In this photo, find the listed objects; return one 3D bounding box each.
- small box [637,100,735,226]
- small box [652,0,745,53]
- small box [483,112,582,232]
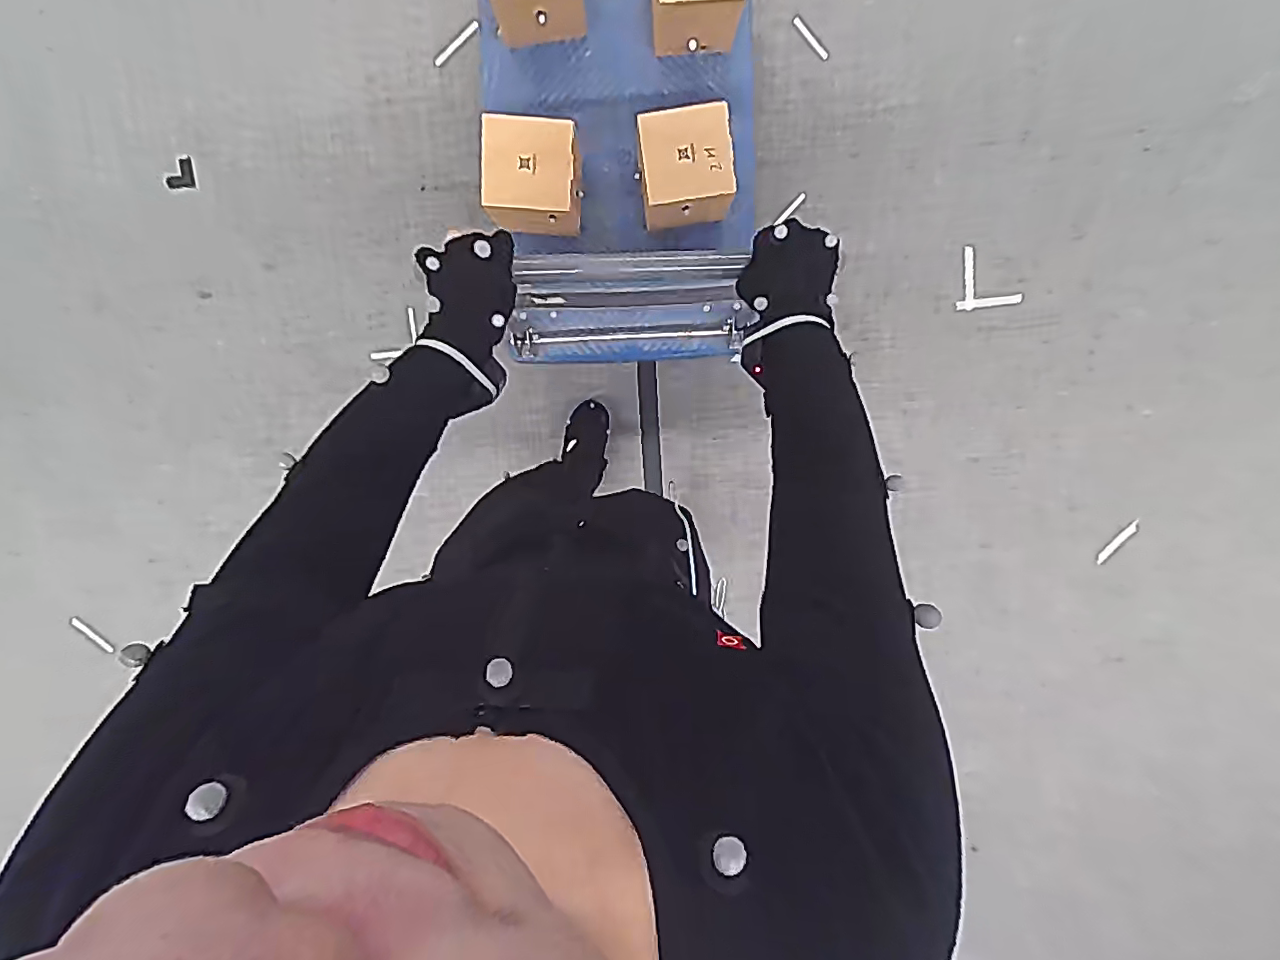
[{"bbox_3d":[0.090,-0.643,1.118,0.179,0.176,0.168,-8,99,1],"label":"small box"},{"bbox_3d":[0.109,-0.987,1.062,0.168,0.176,0.179,-4,100,0],"label":"small box"},{"bbox_3d":[-0.216,-0.626,1.117,0.179,0.176,0.168,3,99,-3],"label":"small box"}]
